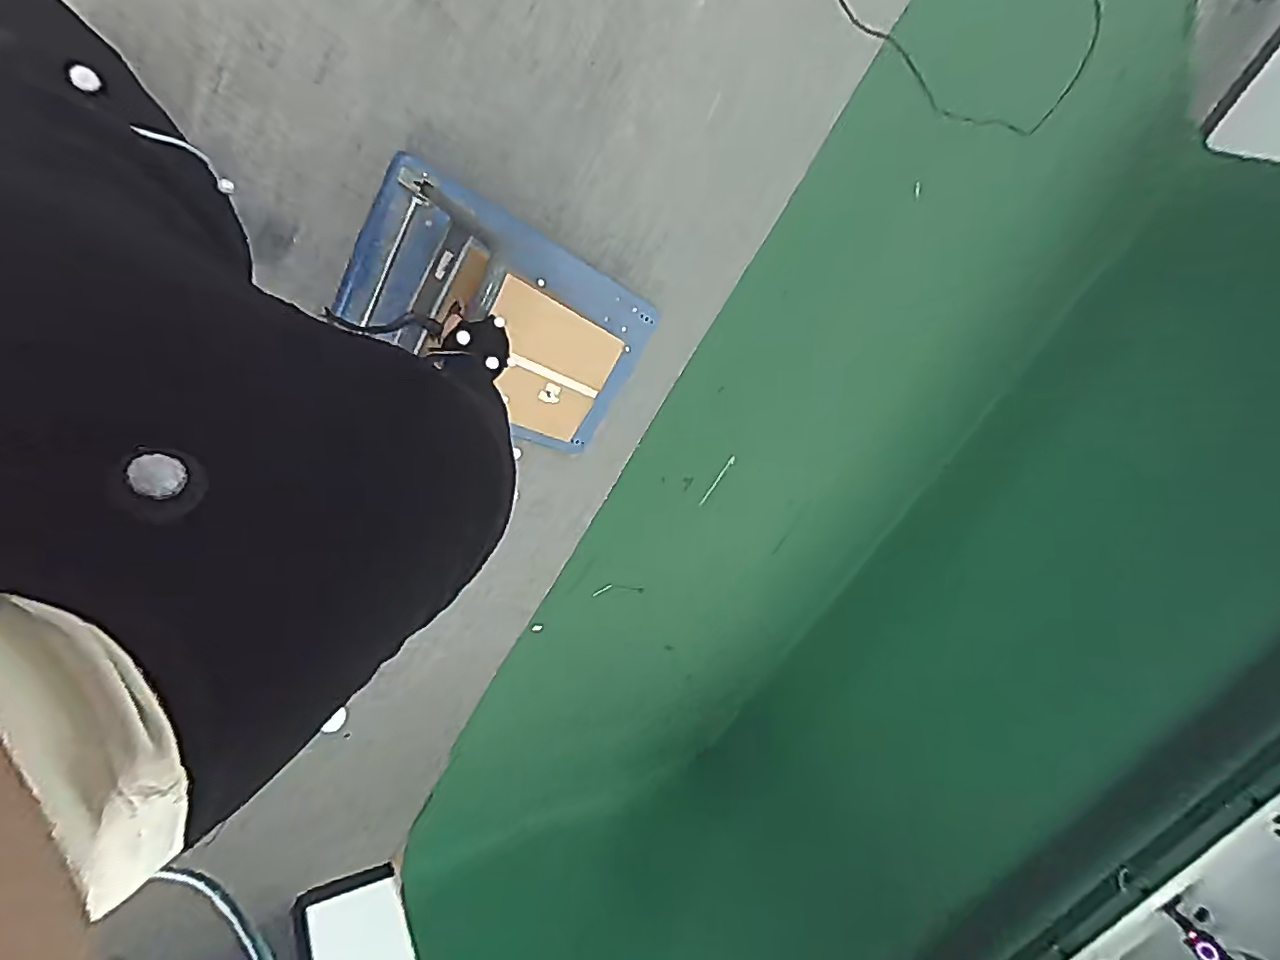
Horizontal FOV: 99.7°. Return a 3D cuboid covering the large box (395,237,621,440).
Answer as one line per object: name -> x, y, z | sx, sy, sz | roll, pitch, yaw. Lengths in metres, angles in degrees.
large box -> -0.337, -0.349, 1.376 | 0.408, 0.320, 0.320 | 17, 111, -48
